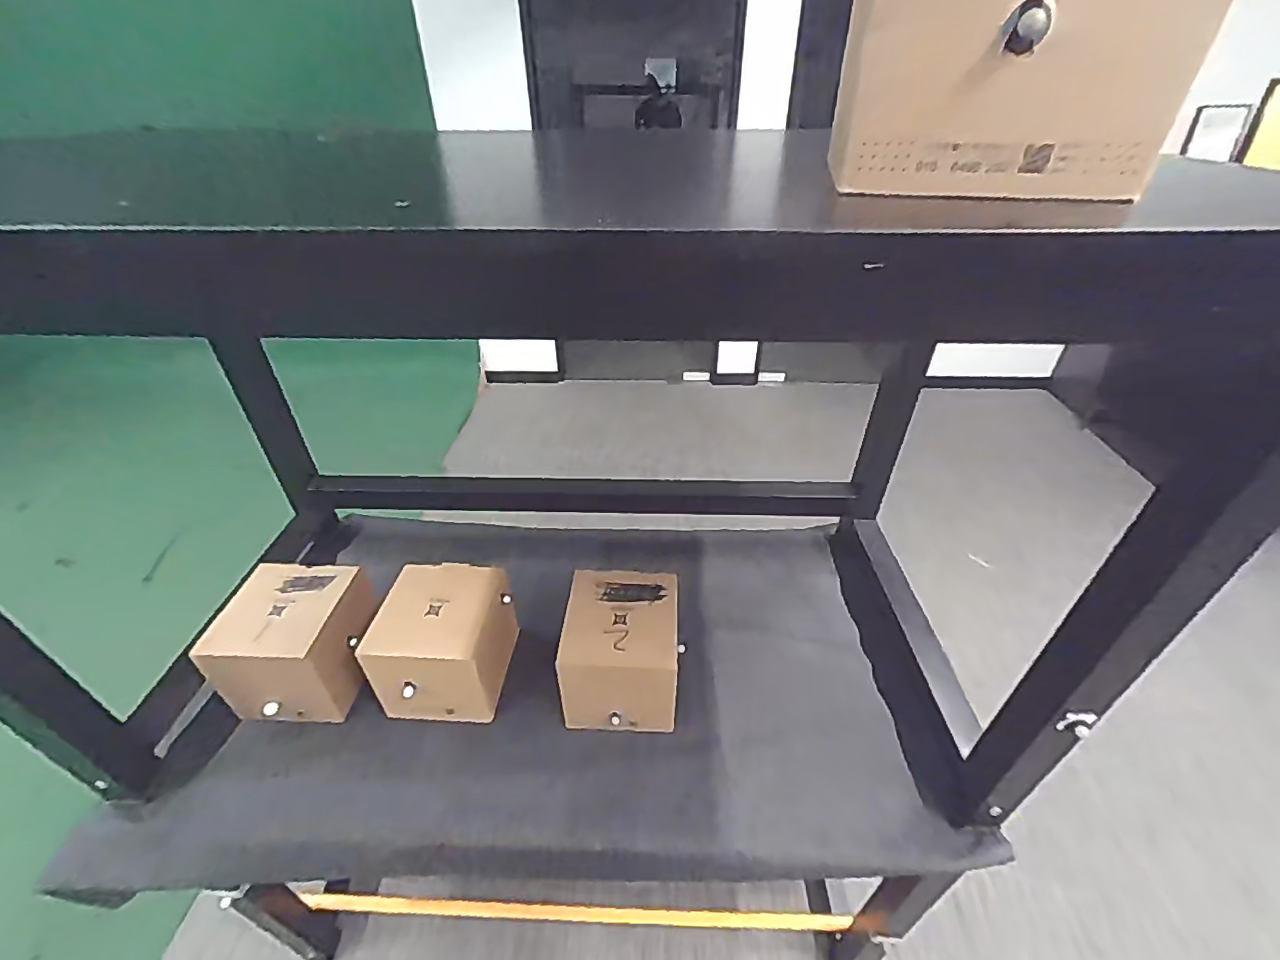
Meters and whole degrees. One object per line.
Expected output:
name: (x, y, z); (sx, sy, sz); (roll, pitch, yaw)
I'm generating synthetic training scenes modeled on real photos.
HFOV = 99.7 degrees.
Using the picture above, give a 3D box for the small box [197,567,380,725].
small box: (-0.531, 0.260, 0.858); (0.168, 0.176, 0.179); (1, 36, 1)

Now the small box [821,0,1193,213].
small box: (0.220, -0.282, 0.356); (0.168, 0.176, 0.179); (8, 36, 11)

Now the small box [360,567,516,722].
small box: (-0.304, 0.261, 0.860); (0.168, 0.176, 0.179); (2, 36, 2)
